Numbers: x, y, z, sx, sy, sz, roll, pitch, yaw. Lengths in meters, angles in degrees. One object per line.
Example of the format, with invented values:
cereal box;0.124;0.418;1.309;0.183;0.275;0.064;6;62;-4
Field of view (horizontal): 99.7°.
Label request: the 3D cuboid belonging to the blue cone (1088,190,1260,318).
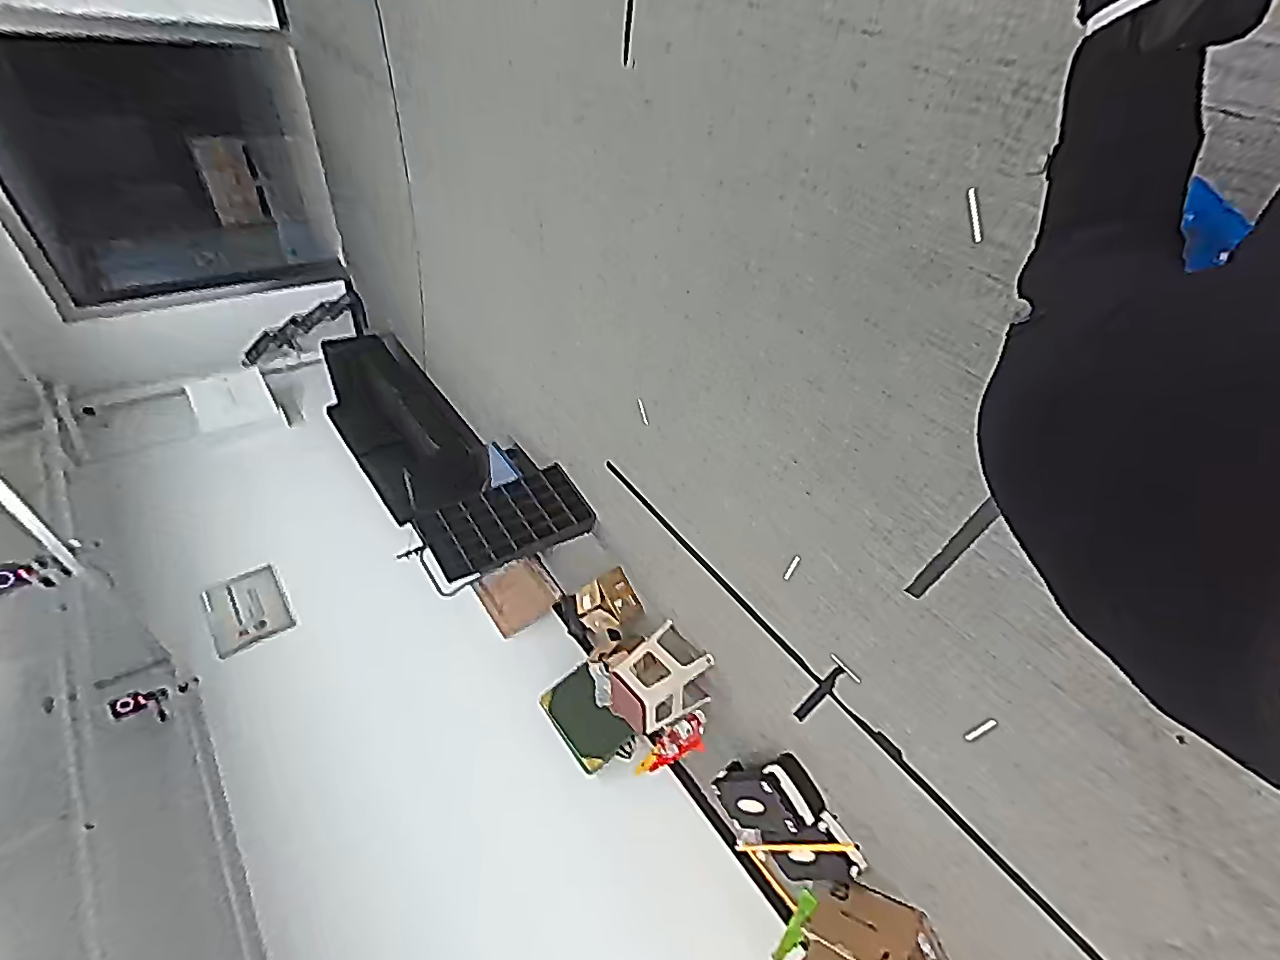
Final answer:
blue cone;0.902;-0.378;0.965;0.193;0.380;0.192;59;149;13
